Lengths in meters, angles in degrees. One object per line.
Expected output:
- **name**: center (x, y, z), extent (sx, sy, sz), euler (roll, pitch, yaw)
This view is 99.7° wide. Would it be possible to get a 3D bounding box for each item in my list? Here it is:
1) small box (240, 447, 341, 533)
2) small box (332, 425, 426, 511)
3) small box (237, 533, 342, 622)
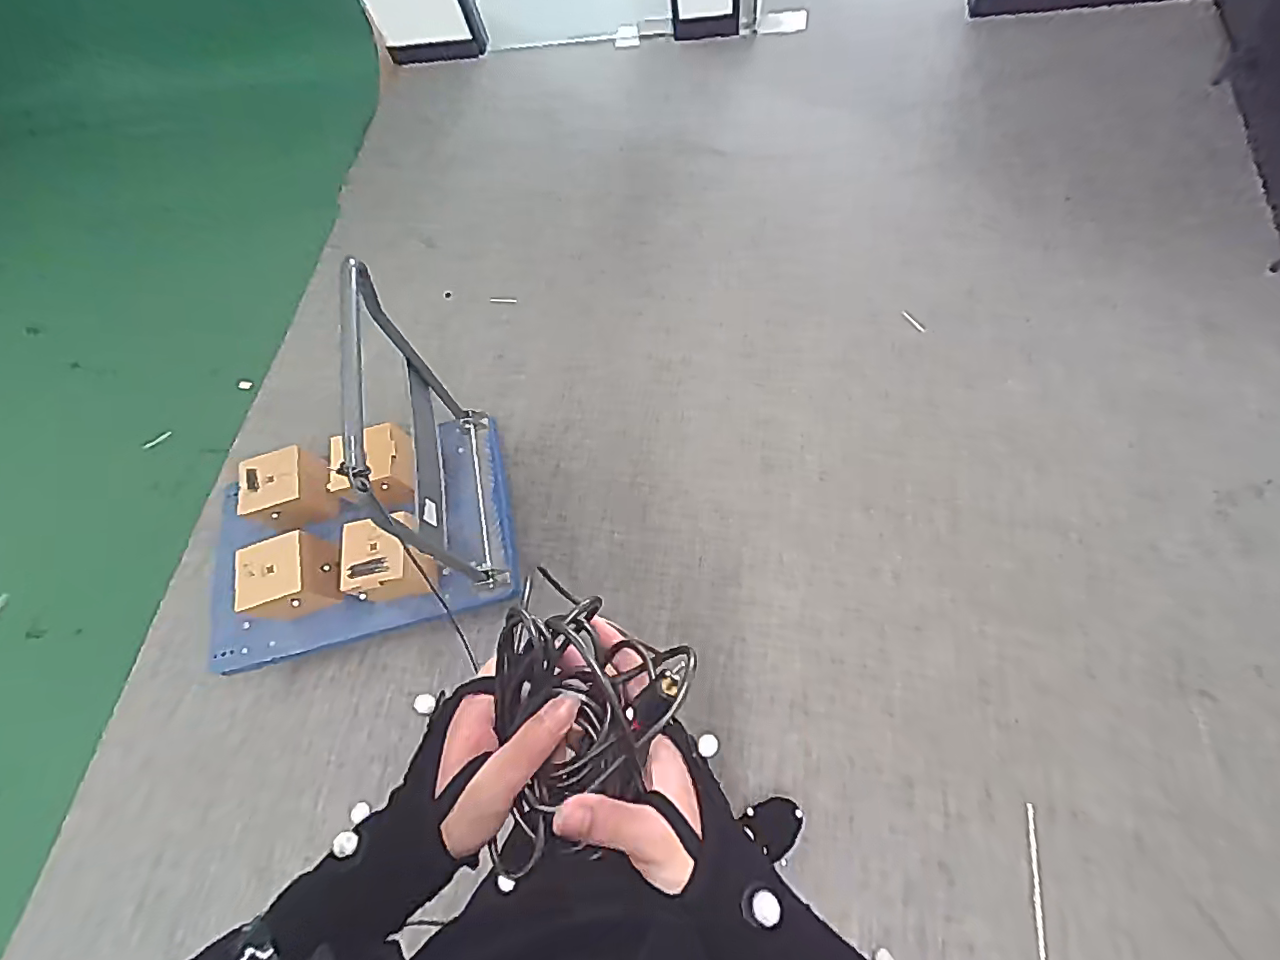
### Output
- **small box**: center (-0.977, 0.035, 1.521), extent (0.179, 0.176, 0.168), euler (-17, 67, 2)
- **small box**: center (-0.721, -0.026, 1.506), extent (0.179, 0.176, 0.168), euler (-14, 67, 3)
- **small box**: center (-0.910, 0.260, 1.418), extent (0.179, 0.176, 0.168), euler (-19, 66, 1)
